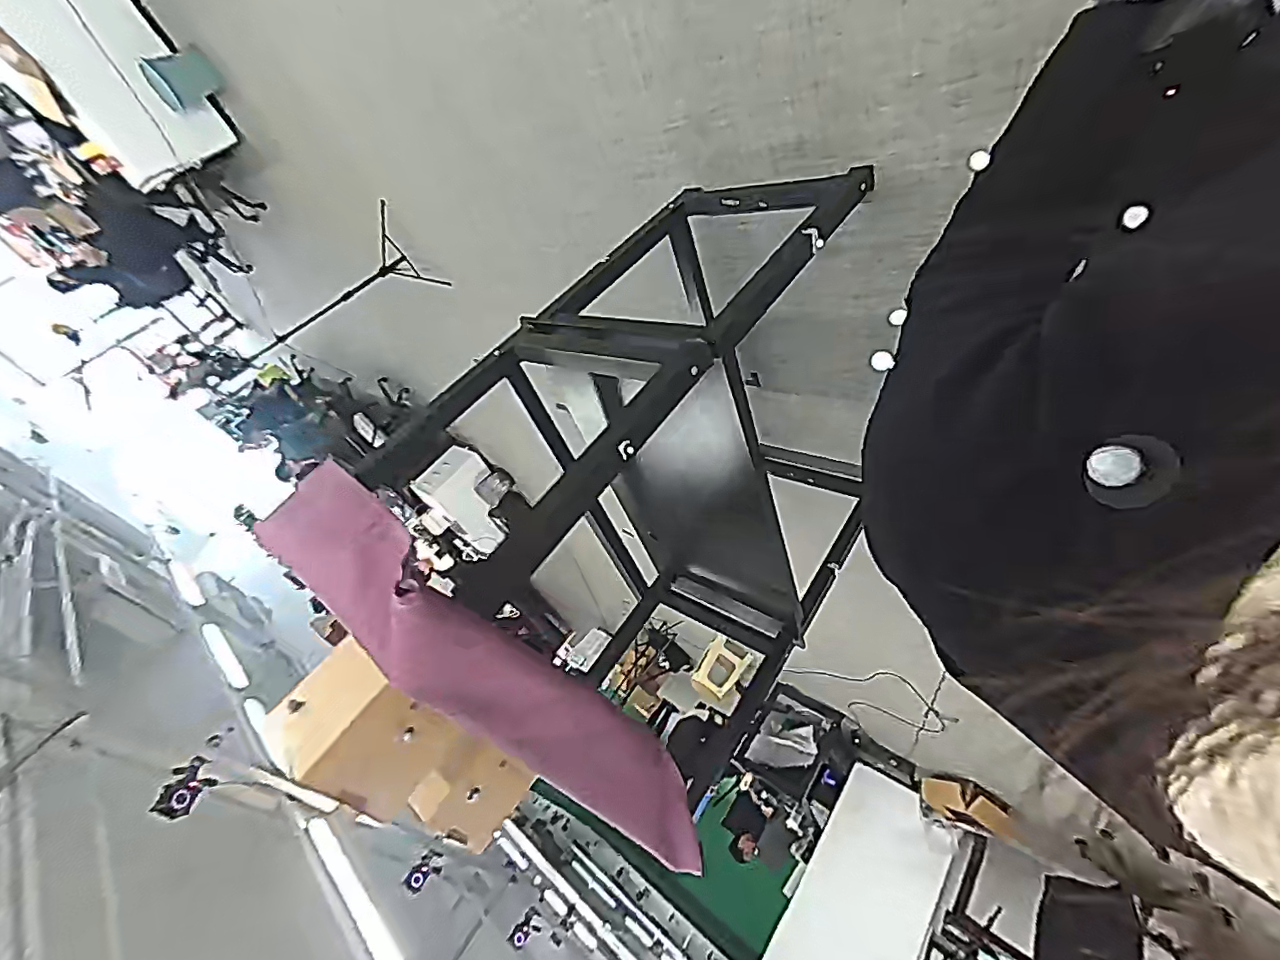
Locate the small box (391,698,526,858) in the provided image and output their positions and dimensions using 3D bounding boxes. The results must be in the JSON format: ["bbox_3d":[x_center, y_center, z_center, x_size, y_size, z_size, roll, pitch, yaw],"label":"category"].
[{"bbox_3d":[-0.335,0.535,0.987,0.179,0.176,0.168,16,146,42],"label":"small box"}]

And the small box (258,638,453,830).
[{"bbox_3d":[-0.414,0.363,0.802,0.179,0.176,0.168,14,146,45],"label":"small box"}]
